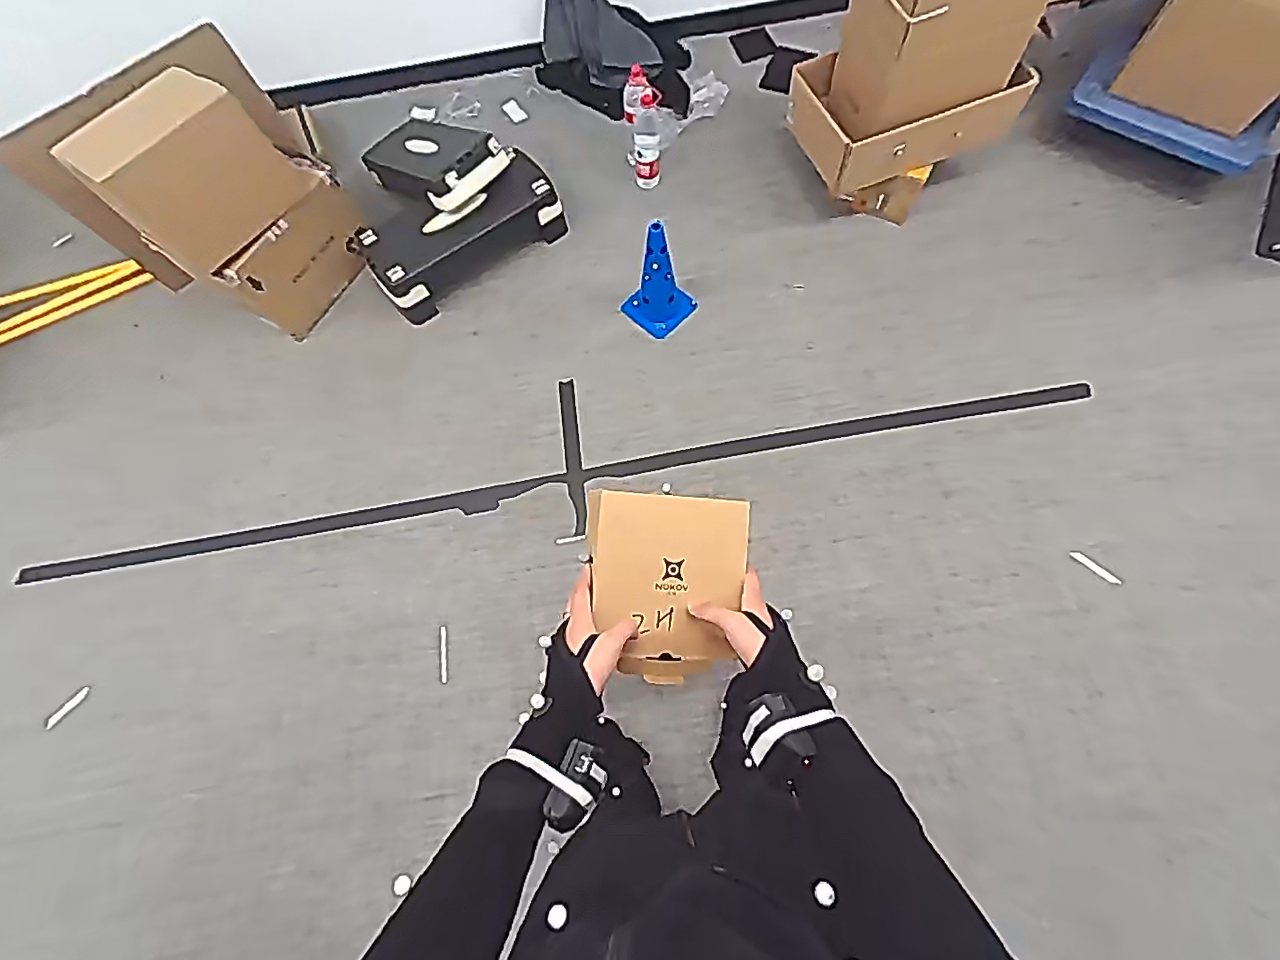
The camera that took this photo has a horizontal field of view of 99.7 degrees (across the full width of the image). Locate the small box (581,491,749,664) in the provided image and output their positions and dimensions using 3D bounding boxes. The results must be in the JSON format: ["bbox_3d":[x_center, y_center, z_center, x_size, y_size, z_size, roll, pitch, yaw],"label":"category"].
[{"bbox_3d":[0.020,0.108,0.653,0.168,0.176,0.179,6,88,-9],"label":"small box"}]

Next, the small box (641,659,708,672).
[{"bbox_3d":[0.086,0.404,1.413,0.168,0.176,0.179,-5,69,2],"label":"small box"}]
